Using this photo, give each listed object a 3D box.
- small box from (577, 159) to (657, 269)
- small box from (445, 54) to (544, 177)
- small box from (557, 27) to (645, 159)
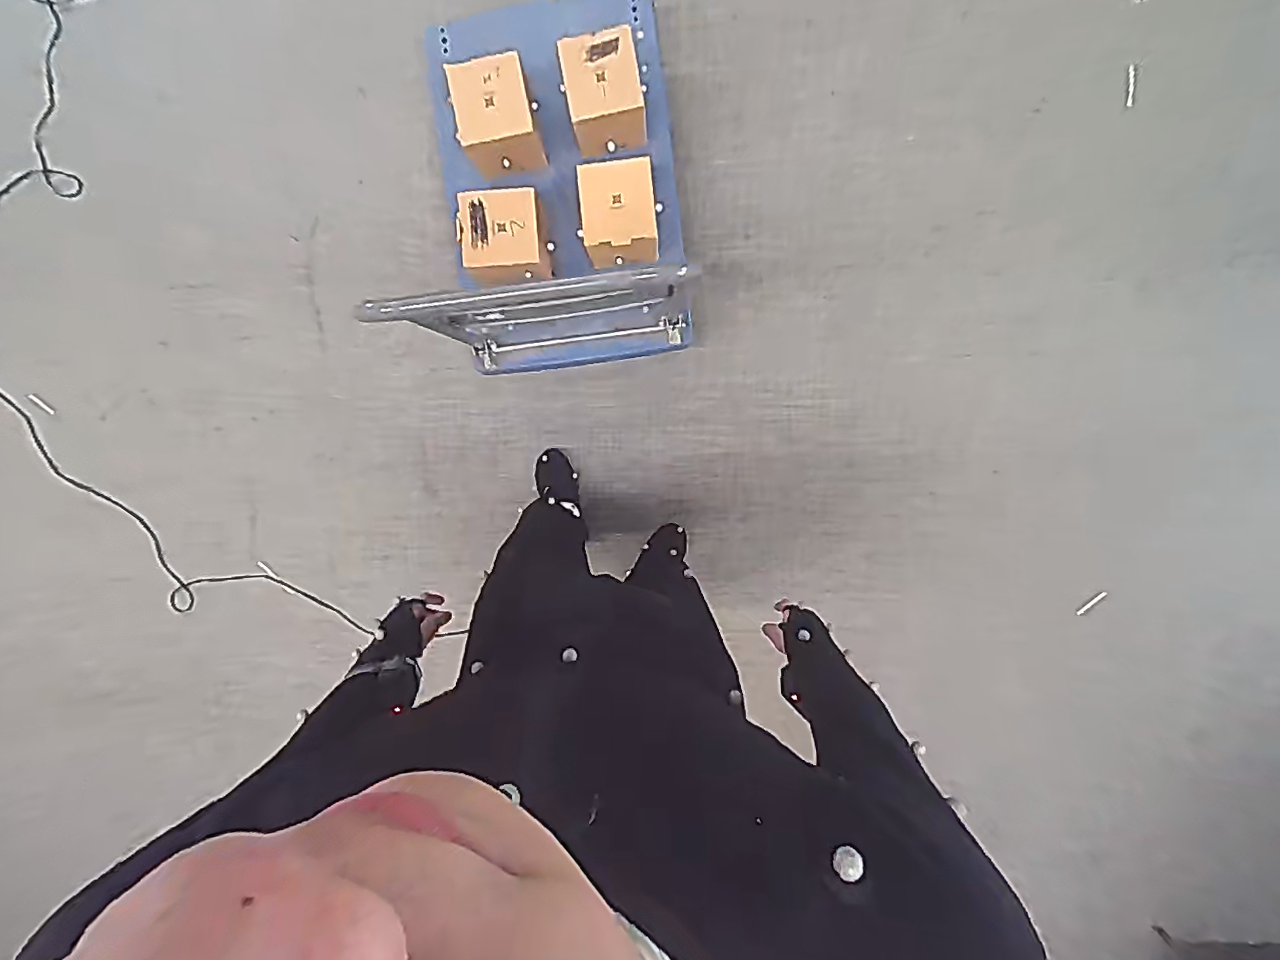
[{"bbox_3d":[-0.051,-0.620,1.277,0.168,0.176,0.179,-6,95,2],"label":"small box"},{"bbox_3d":[-0.331,-0.840,1.269,0.168,0.176,0.179,-10,94,2],"label":"small box"},{"bbox_3d":[-0.084,-0.888,1.255,0.168,0.176,0.179,-10,95,4],"label":"small box"}]
